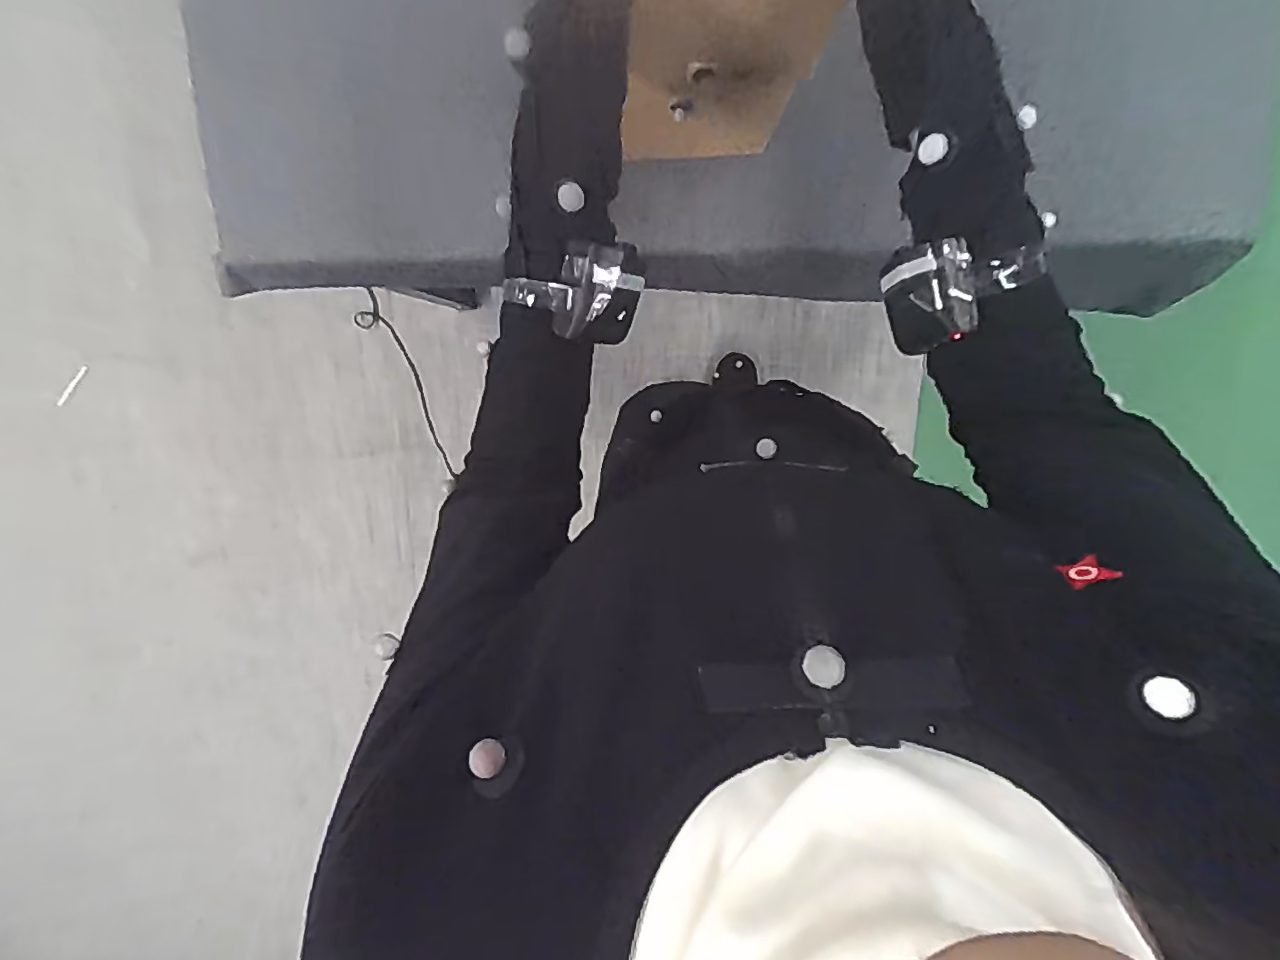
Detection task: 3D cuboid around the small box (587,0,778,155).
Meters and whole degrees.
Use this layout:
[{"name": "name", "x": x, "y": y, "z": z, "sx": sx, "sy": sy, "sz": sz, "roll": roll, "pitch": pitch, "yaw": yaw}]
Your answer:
[{"name": "small box", "x": 0.046, "y": -0.436, "z": 0.524, "sx": 0.179, "sy": 0.176, "sz": 0.168, "roll": -1, "pitch": 102, "yaw": 2}]
